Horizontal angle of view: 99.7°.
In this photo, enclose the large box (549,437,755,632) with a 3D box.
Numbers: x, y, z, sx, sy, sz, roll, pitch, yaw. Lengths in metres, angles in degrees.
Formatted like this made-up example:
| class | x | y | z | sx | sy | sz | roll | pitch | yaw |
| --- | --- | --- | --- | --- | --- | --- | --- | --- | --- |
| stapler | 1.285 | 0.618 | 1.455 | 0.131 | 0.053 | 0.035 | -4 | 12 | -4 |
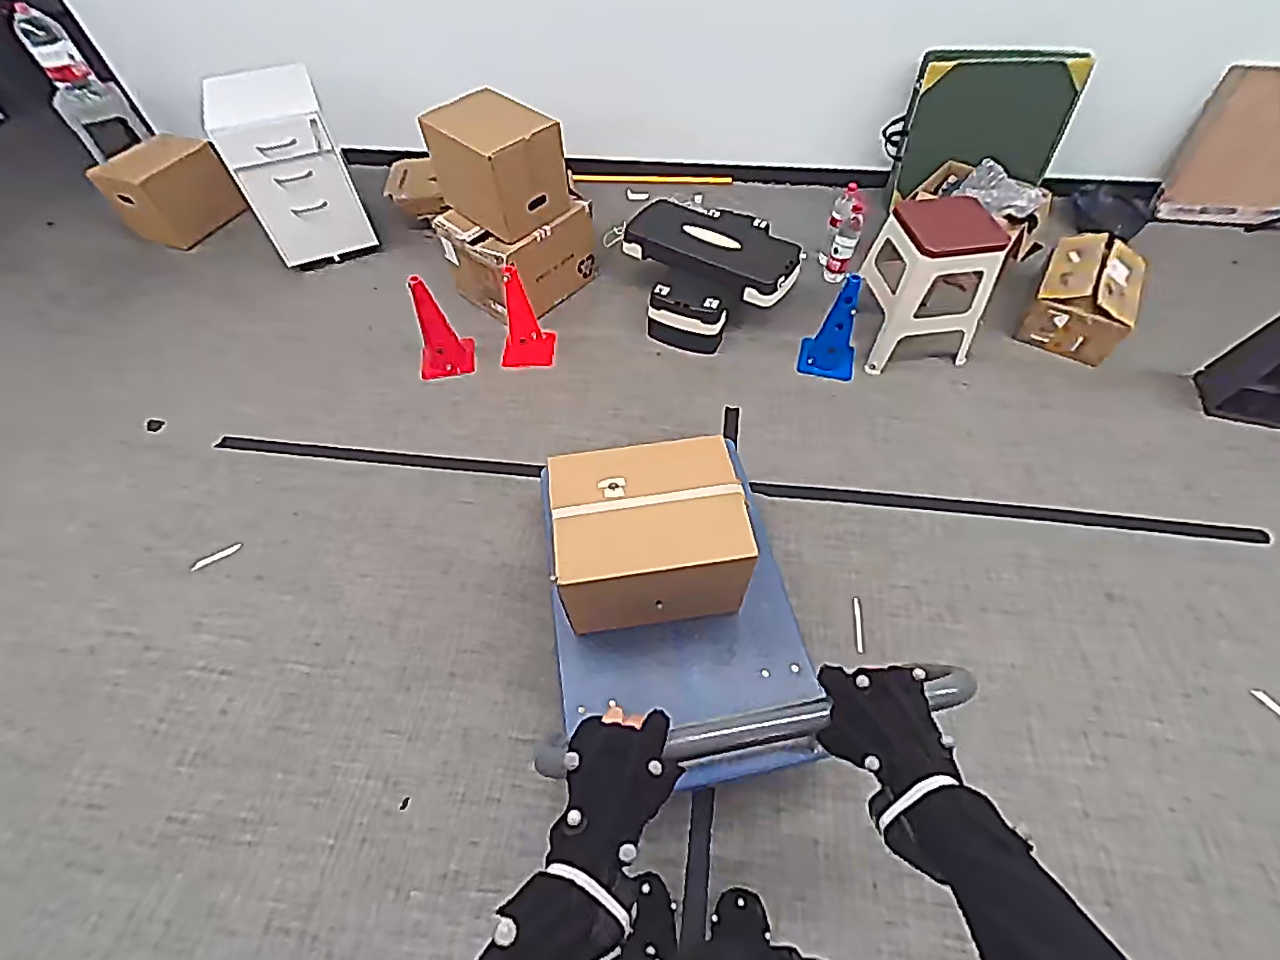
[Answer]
| class | x | y | z | sx | sy | sz | roll | pitch | yaw |
| --- | --- | --- | --- | --- | --- | --- | --- | --- | --- |
| large box | 0.020 | 0.137 | 1.269 | 0.408 | 0.320 | 0.320 | -8 | 56 | -3 |
